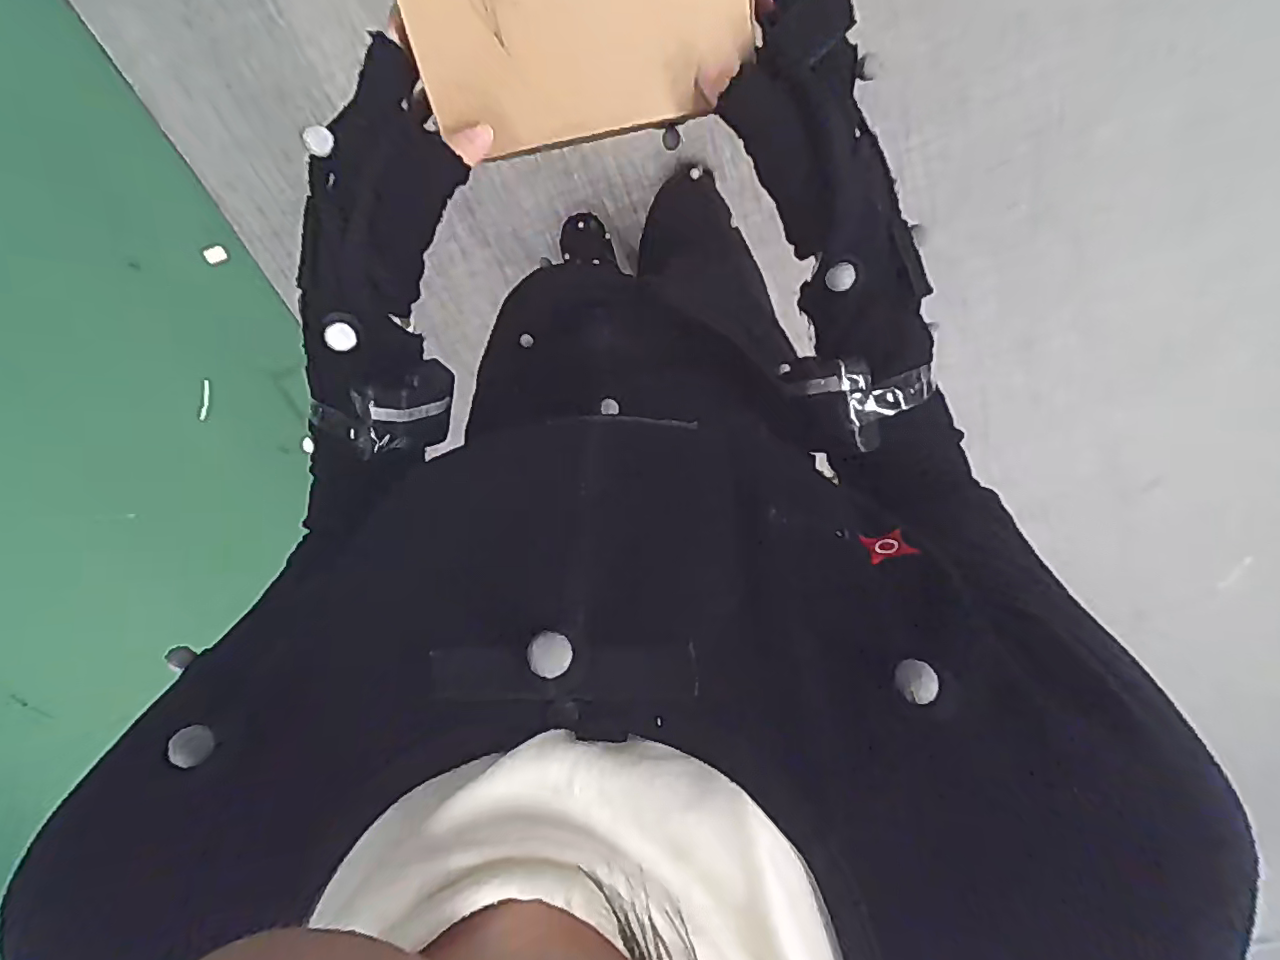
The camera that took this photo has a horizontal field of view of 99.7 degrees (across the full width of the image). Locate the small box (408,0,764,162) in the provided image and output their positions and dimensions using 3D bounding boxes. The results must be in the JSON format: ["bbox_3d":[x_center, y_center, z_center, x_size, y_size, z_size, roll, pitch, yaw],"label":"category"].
[{"bbox_3d":[-0.035,-0.305,0.326,0.179,0.176,0.168,-11,120,6],"label":"small box"}]
